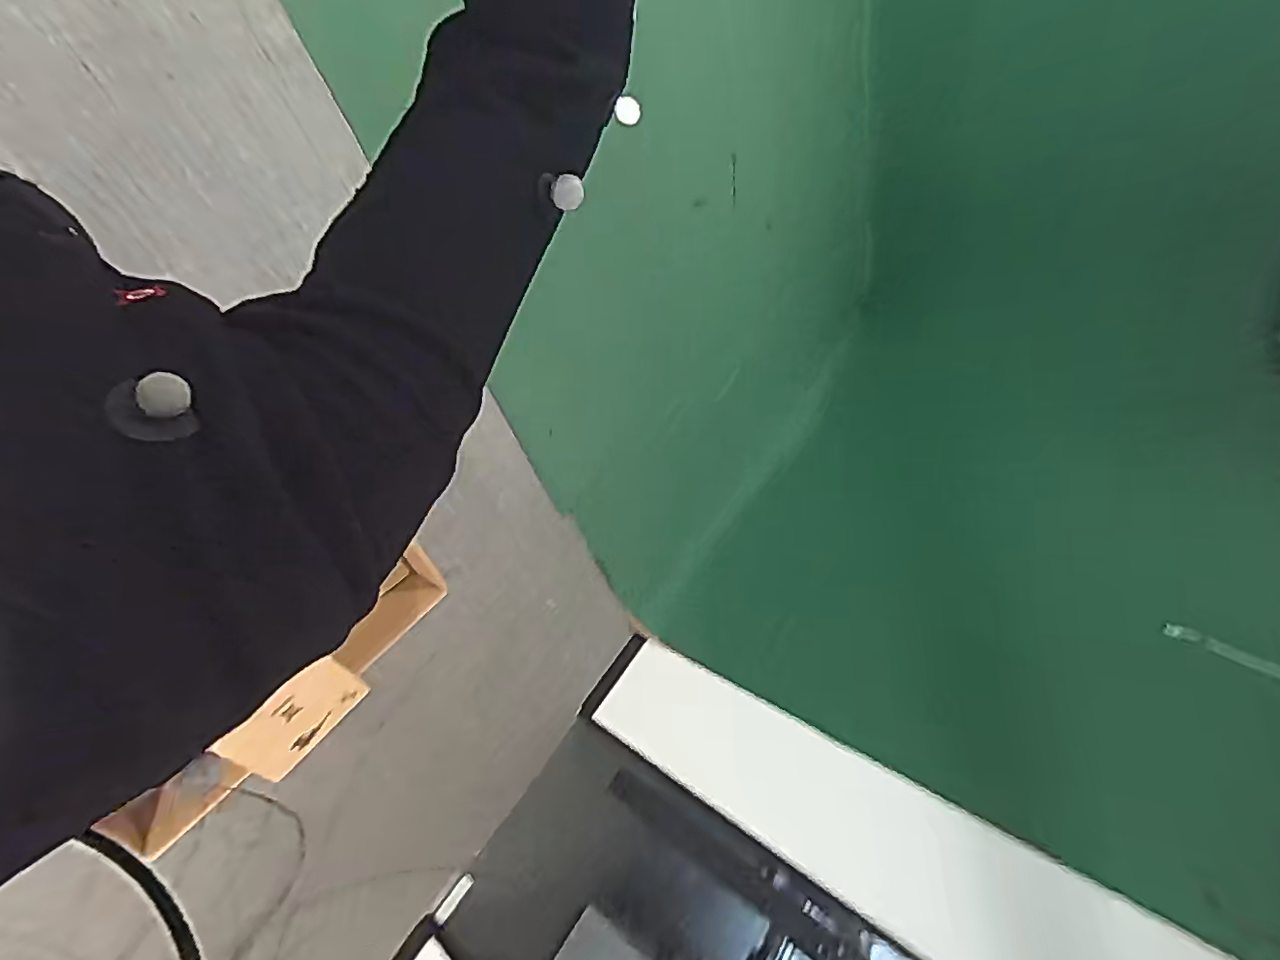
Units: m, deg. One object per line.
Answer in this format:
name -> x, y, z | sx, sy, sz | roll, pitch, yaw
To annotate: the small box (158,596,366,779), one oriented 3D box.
small box -> -0.562, 0.297, 0.808 | 0.168, 0.176, 0.179 | -46, 136, -28
